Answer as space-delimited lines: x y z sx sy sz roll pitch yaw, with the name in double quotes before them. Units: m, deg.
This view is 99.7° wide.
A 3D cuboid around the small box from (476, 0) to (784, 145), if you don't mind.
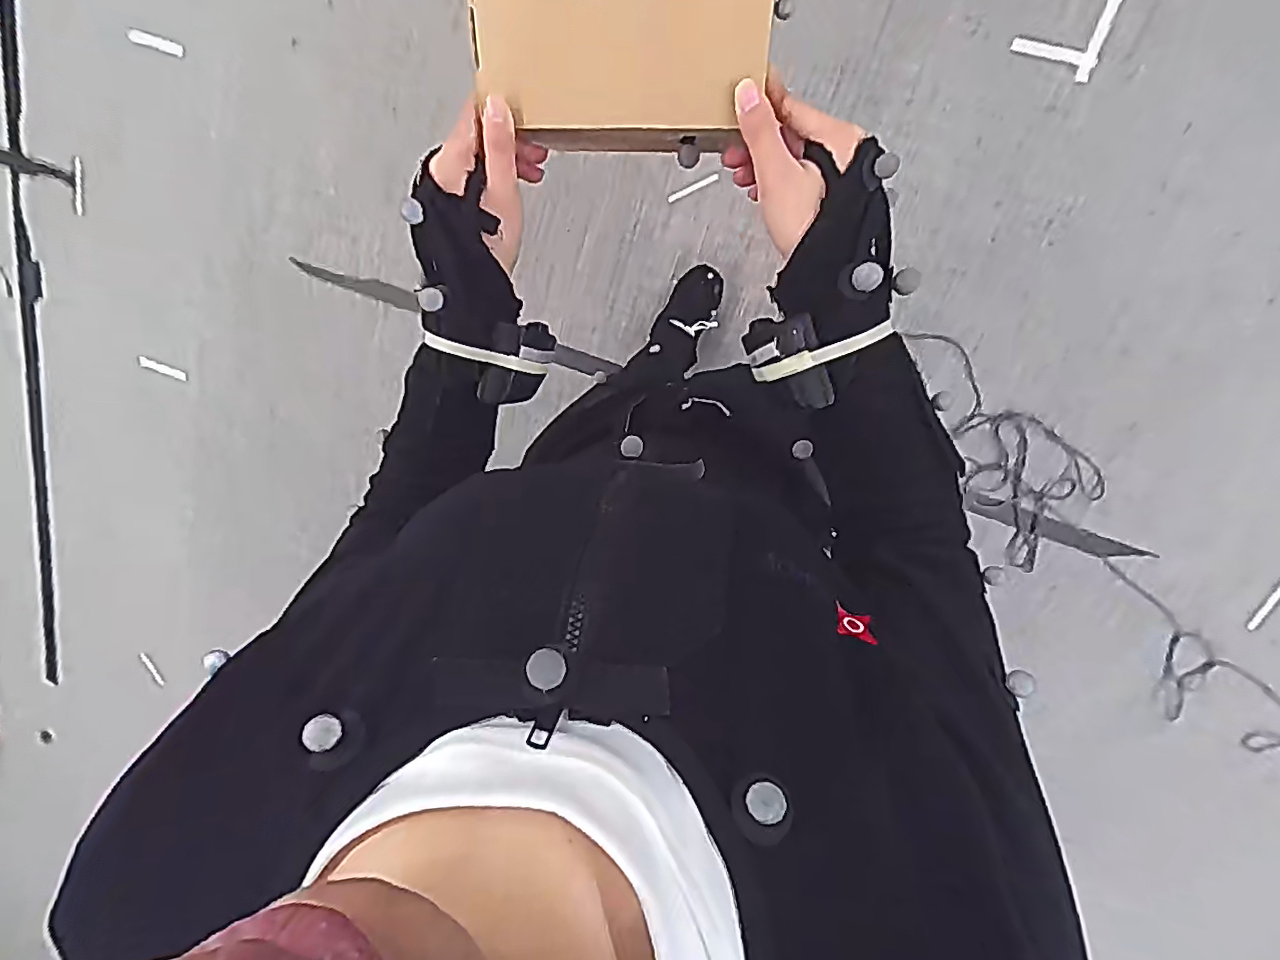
"small box" 0.004 -0.329 0.359 0.179 0.176 0.168 6 117 8
